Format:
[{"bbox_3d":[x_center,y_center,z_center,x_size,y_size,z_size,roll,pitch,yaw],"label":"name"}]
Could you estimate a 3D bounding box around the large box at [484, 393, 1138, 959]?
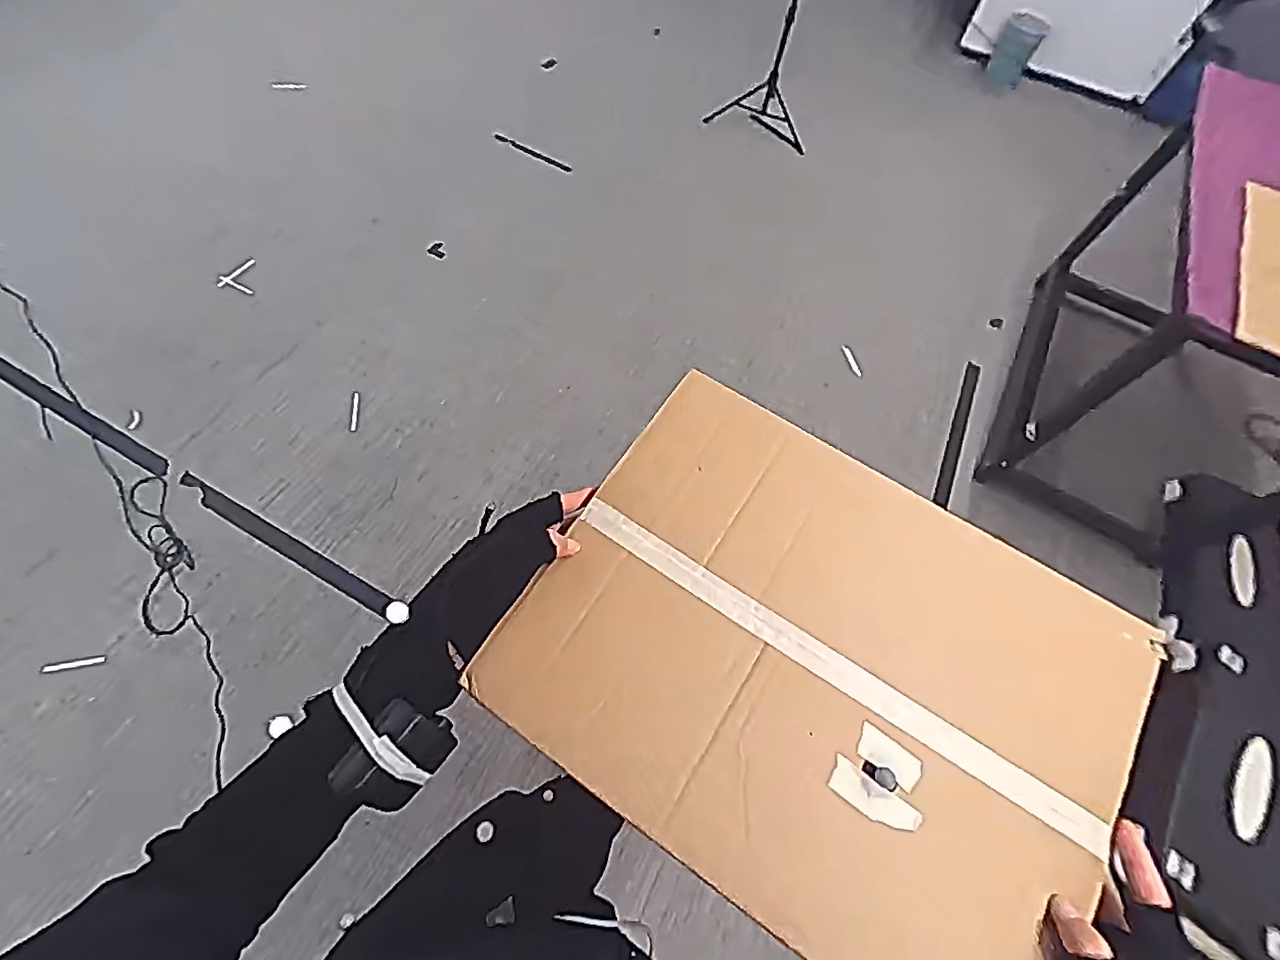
[{"bbox_3d":[0.128,0.191,0.537,0.408,0.320,0.320,32,72,12],"label":"large box"}]
